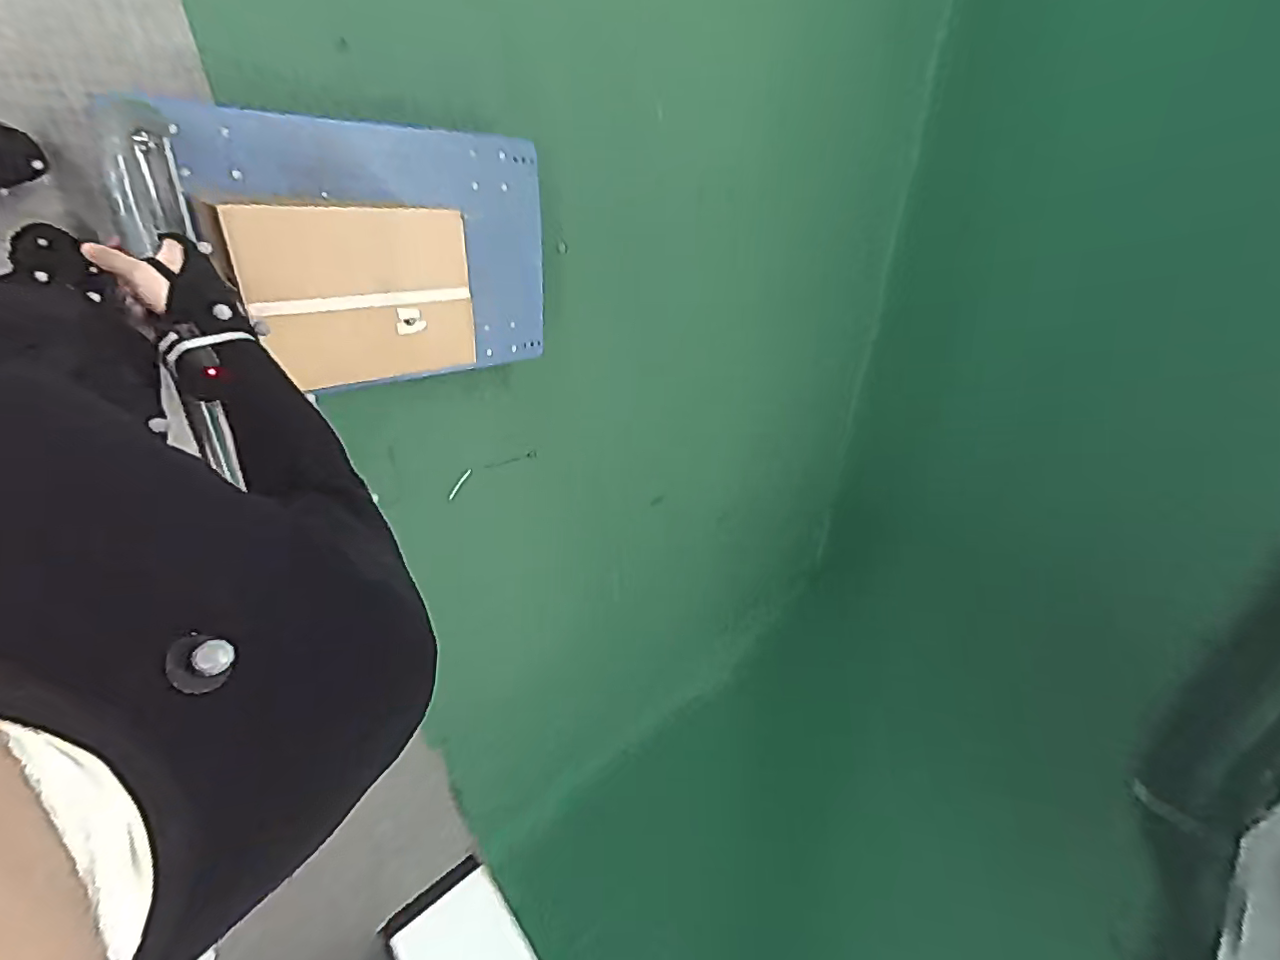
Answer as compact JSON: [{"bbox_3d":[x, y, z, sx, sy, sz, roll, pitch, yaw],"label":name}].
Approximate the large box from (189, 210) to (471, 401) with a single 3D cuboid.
[{"bbox_3d":[-0.622,-0.386,1.123,0.408,0.320,0.320,-21,126,-38],"label":"large box"}]
